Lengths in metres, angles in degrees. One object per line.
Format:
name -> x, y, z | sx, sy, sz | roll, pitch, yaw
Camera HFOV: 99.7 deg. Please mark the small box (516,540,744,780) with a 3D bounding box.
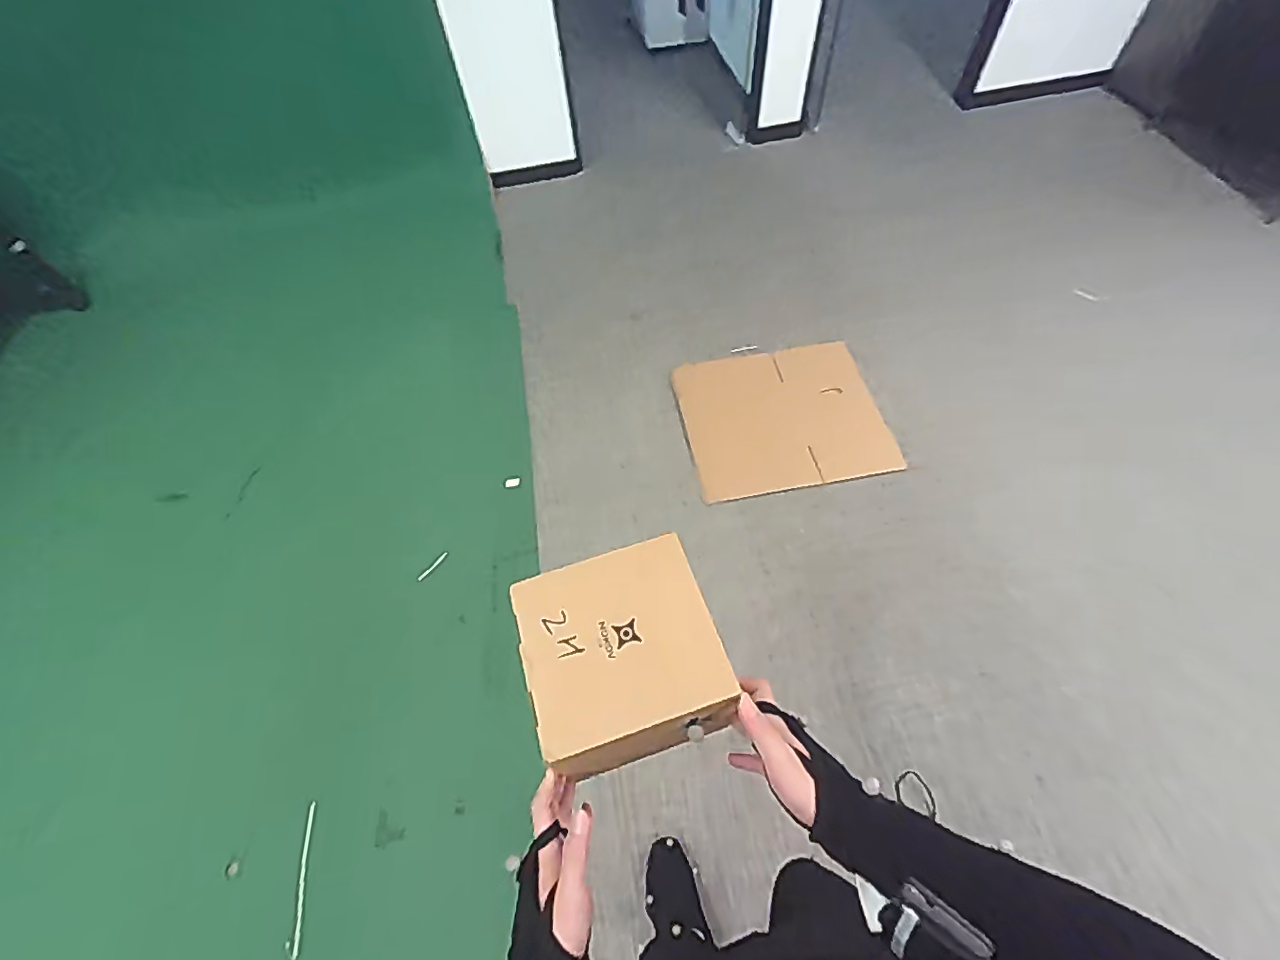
small box -> -0.011, 0.189, 0.556 | 0.179, 0.176, 0.168 | -17, 57, -6
